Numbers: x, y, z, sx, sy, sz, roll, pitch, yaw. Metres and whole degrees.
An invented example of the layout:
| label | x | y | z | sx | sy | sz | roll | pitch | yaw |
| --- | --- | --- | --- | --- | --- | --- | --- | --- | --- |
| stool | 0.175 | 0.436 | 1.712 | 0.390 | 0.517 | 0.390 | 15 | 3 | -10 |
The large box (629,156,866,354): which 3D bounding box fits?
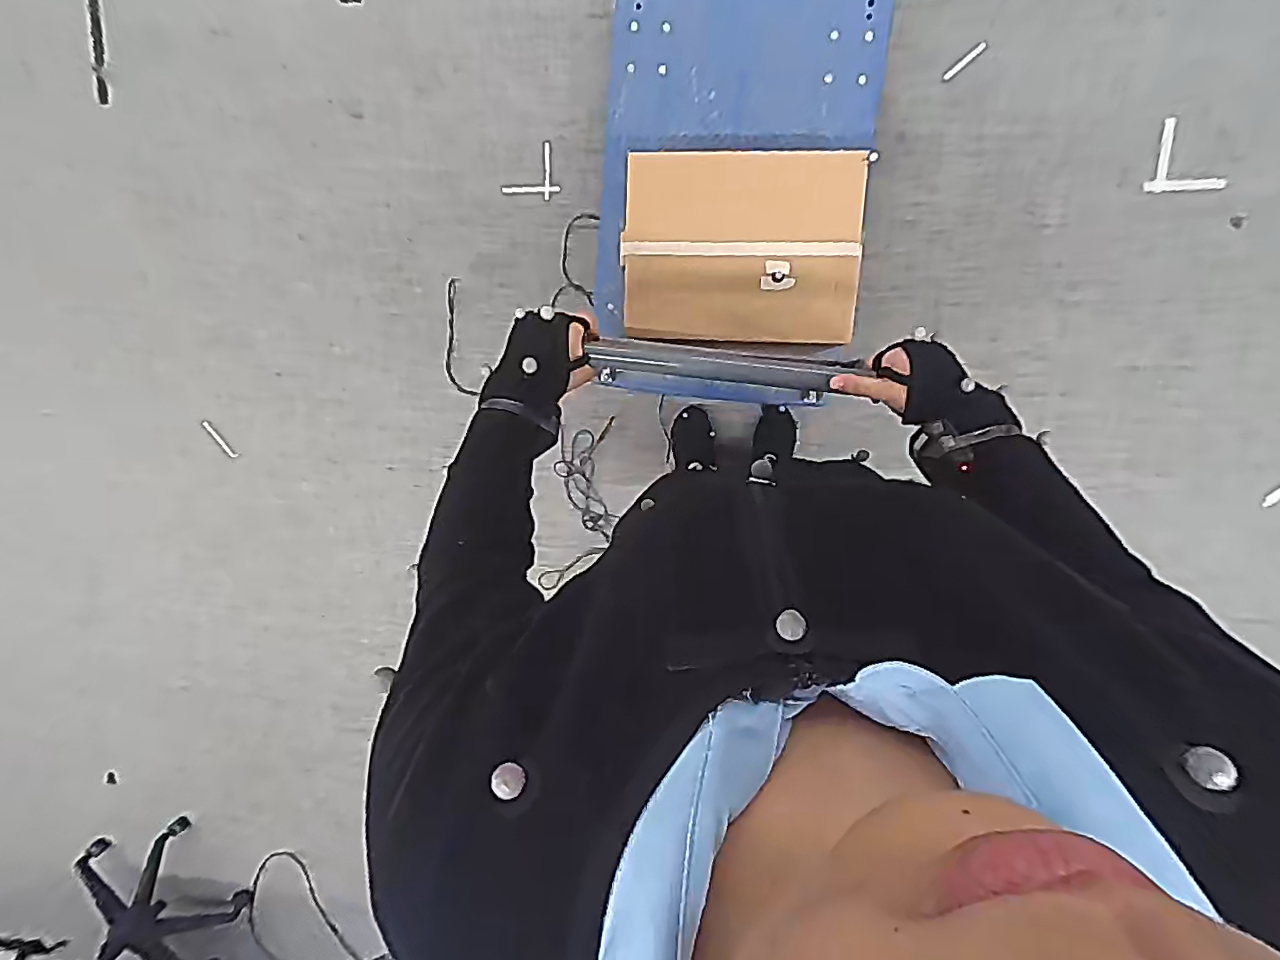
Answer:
| label | x | y | z | sx | sy | sz | roll | pitch | yaw |
| --- | --- | --- | --- | --- | --- | --- | --- | --- | --- |
| large box | 0.191 | -0.423 | 1.093 | 0.408 | 0.320 | 0.320 | 2 | 101 | 5 |
